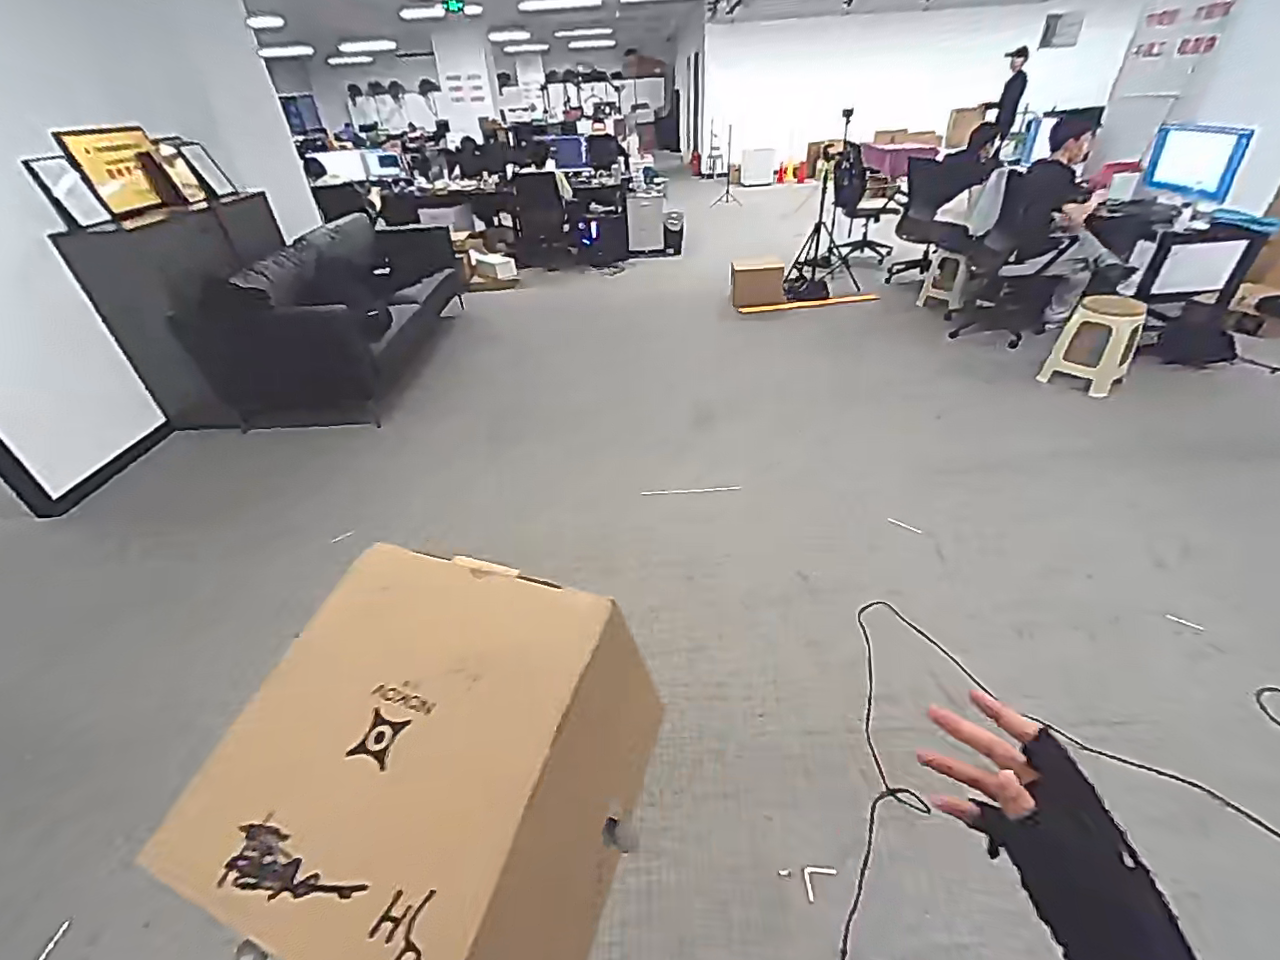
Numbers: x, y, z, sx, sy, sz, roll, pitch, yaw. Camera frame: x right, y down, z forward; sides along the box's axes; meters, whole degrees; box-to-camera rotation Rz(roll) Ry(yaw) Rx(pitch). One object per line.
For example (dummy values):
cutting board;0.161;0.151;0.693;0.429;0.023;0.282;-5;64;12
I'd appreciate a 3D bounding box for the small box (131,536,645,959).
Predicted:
small box;-0.104;0.162;0.313;0.168;0.176;0.179;8;51;20
